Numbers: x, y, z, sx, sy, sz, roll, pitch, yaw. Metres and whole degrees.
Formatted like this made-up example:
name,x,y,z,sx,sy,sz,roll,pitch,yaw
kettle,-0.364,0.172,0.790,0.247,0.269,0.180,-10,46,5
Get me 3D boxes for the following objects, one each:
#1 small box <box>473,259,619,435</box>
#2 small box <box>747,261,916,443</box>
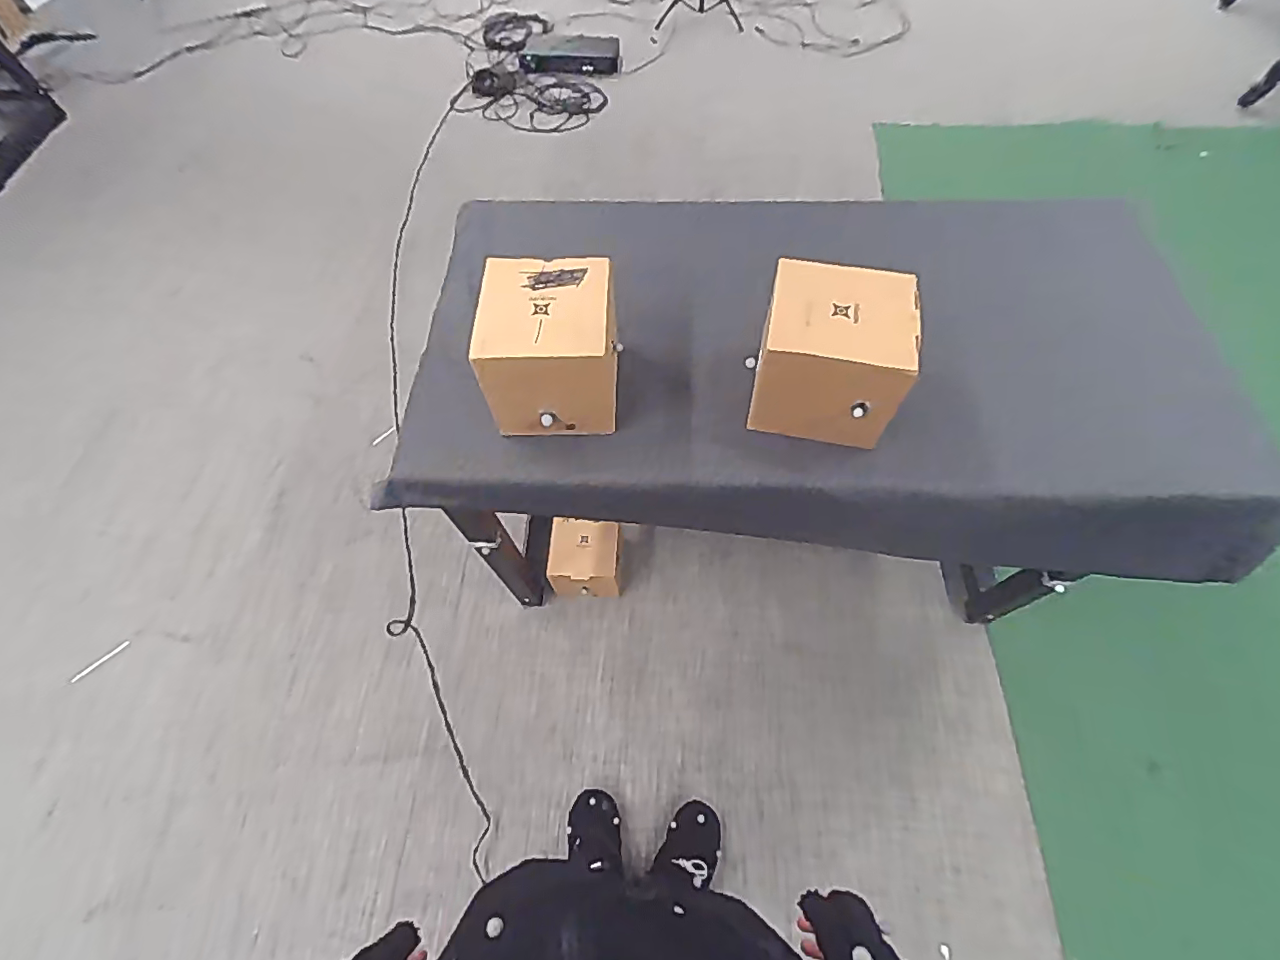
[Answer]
name,x,y,z,sx,sy,sz,roll,pitch,yaw
small box,-0.118,-0.181,0.752,0.168,0.176,0.179,-1,61,1
small box,0.252,-0.168,0.739,0.179,0.176,0.168,9,61,8
